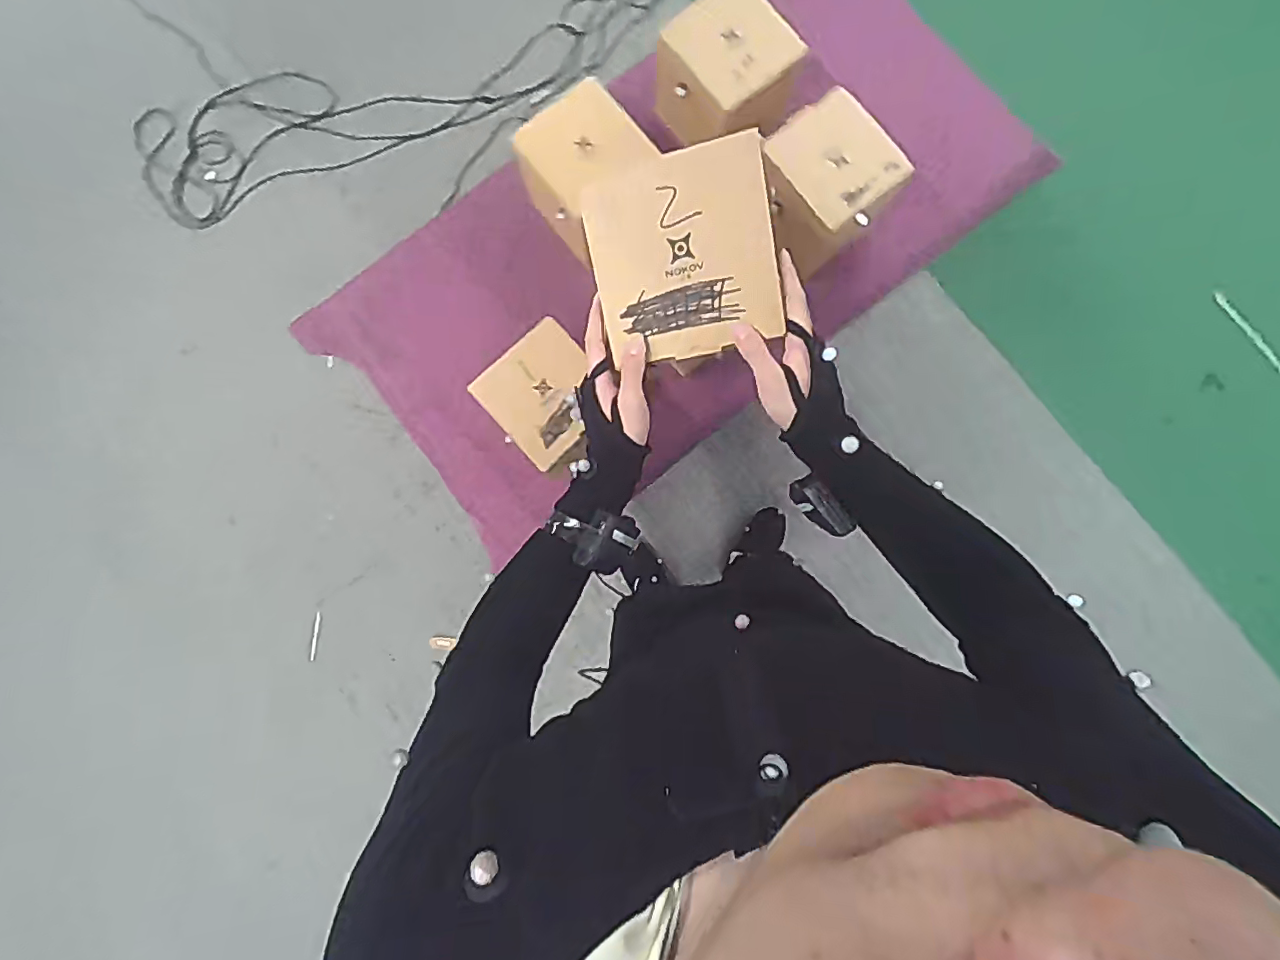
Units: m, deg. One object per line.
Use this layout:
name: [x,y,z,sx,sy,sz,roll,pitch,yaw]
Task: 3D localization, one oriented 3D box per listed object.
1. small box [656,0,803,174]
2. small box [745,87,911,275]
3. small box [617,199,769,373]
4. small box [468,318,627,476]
small box: [0.141,-0.673,0.919,0.168,0.176,0.179,-37,85,-1]
small box: [0.295,-0.481,0.896,0.168,0.176,0.179,-37,84,-1]
small box: [0.081,-0.306,0.889,0.168,0.176,0.179,-39,85,-1]
small box: [-0.137,-0.120,0.876,0.168,0.176,0.179,-42,83,-3]
